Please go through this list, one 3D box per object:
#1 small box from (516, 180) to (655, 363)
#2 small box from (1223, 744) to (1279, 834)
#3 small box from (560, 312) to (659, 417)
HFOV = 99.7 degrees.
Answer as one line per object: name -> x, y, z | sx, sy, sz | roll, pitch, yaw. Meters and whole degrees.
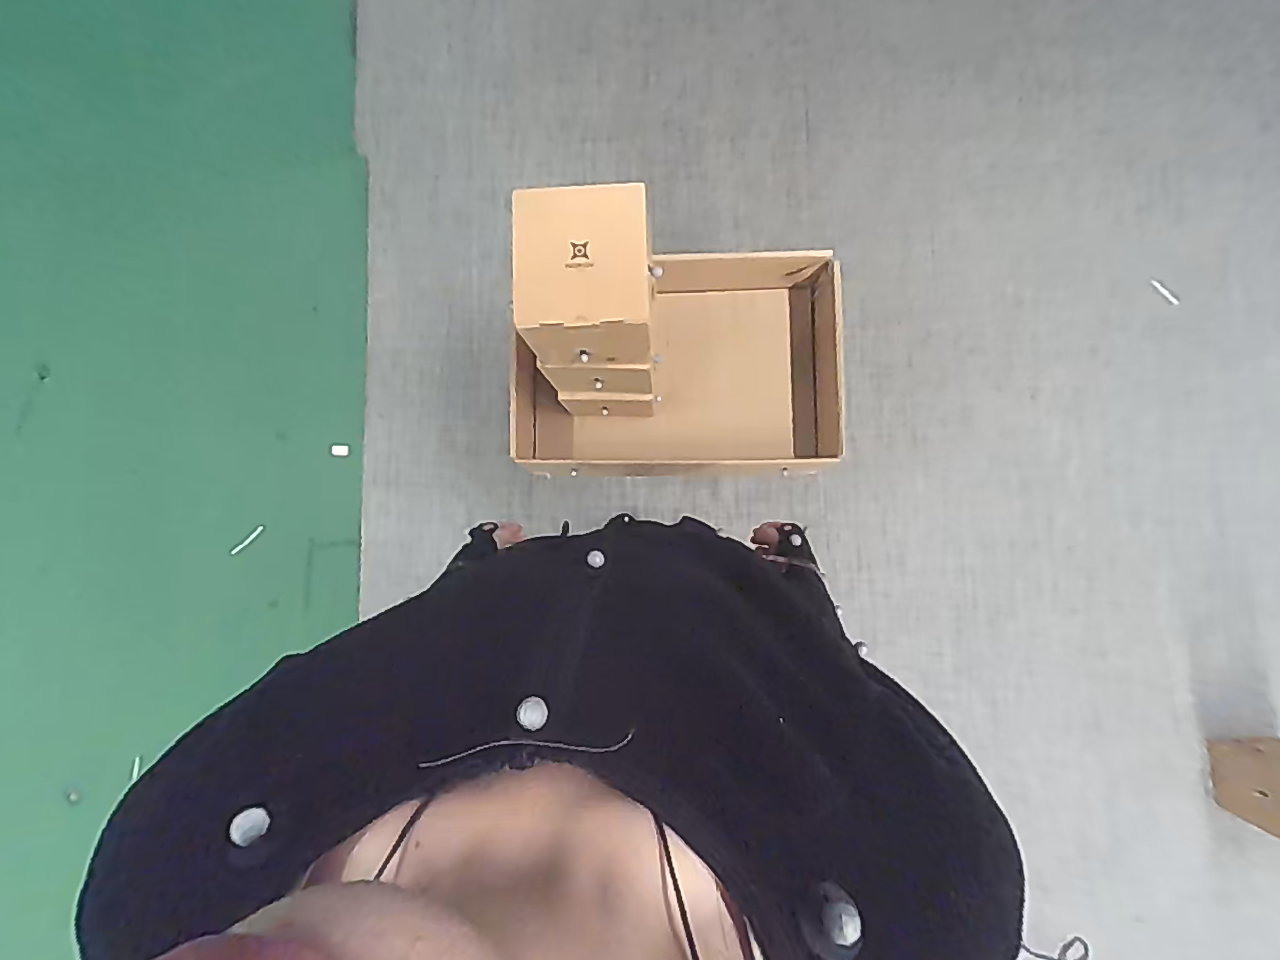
small box -> -0.065, -0.269, 0.729 | 0.168, 0.176, 0.179 | -2, 86, 3
small box -> 1.571, 0.751, 1.298 | 0.168, 0.176, 0.179 | -3, 85, 4
small box -> -0.052, -0.221, 1.052 | 0.179, 0.176, 0.168 | 1, 85, 3
